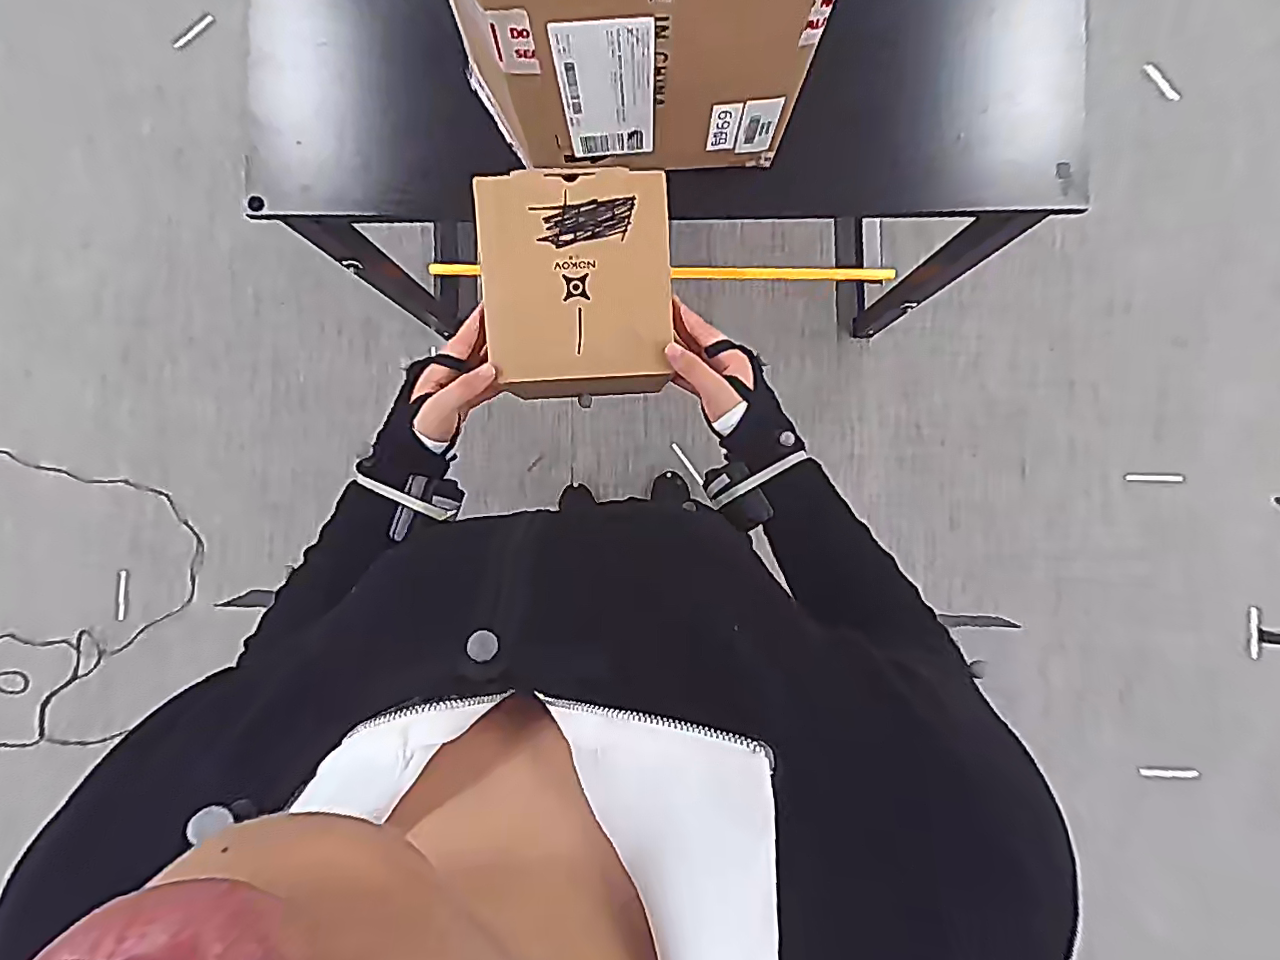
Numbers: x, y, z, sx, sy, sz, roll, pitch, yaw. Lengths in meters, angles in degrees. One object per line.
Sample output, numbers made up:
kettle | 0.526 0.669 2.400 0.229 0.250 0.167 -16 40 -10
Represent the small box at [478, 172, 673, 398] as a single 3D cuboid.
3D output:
small box | -0.059 -0.182 0.550 0.168 0.176 0.179 -3 94 -2
